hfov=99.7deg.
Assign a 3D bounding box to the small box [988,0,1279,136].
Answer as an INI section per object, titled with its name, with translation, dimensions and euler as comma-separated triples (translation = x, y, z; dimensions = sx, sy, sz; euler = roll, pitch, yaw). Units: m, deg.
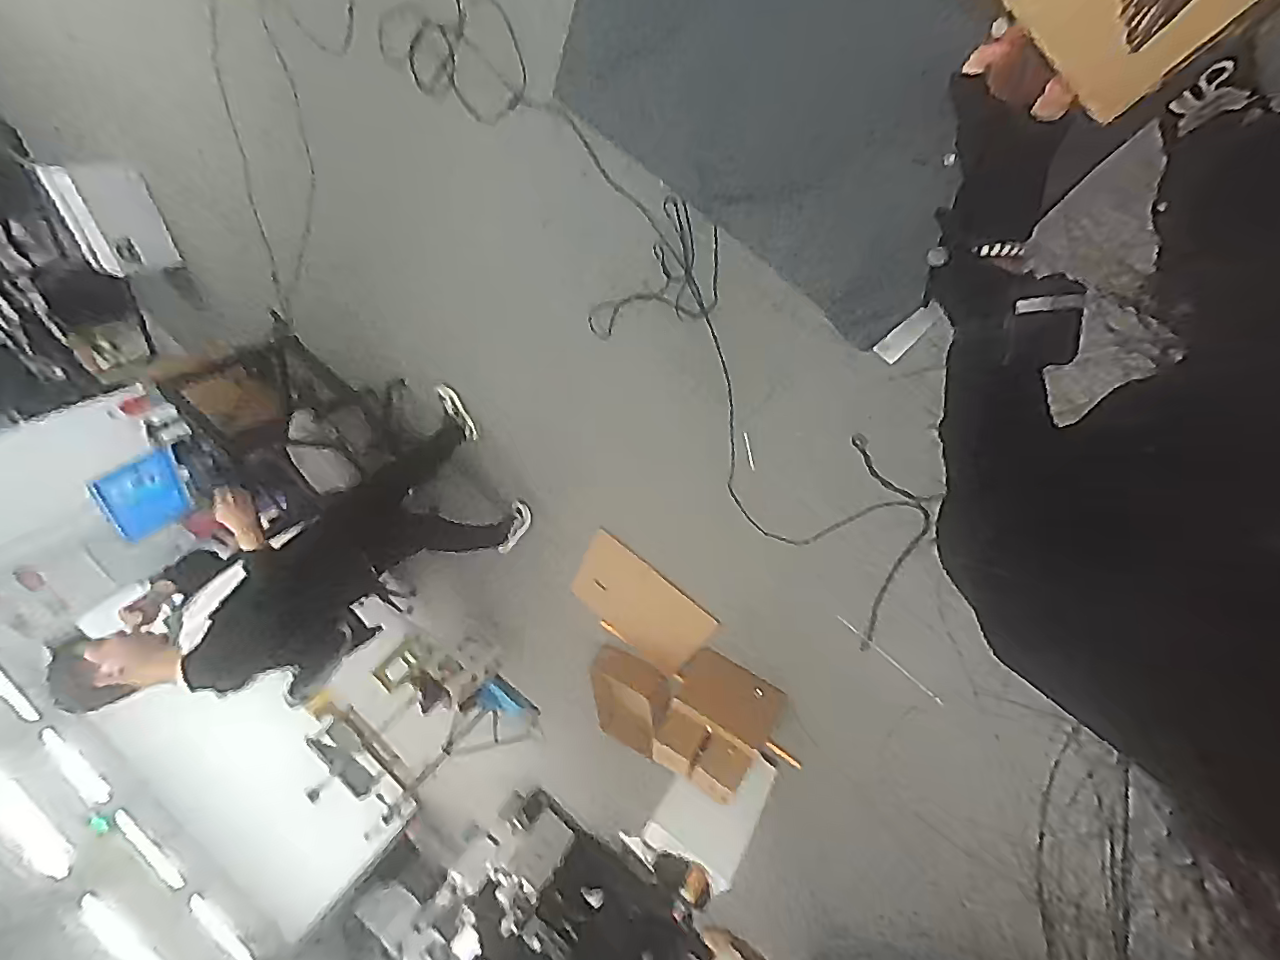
[small box]
translation = 0.318, -0.356, 0.332
dimensions = 0.179, 0.176, 0.168
euler = 50, 137, -4
